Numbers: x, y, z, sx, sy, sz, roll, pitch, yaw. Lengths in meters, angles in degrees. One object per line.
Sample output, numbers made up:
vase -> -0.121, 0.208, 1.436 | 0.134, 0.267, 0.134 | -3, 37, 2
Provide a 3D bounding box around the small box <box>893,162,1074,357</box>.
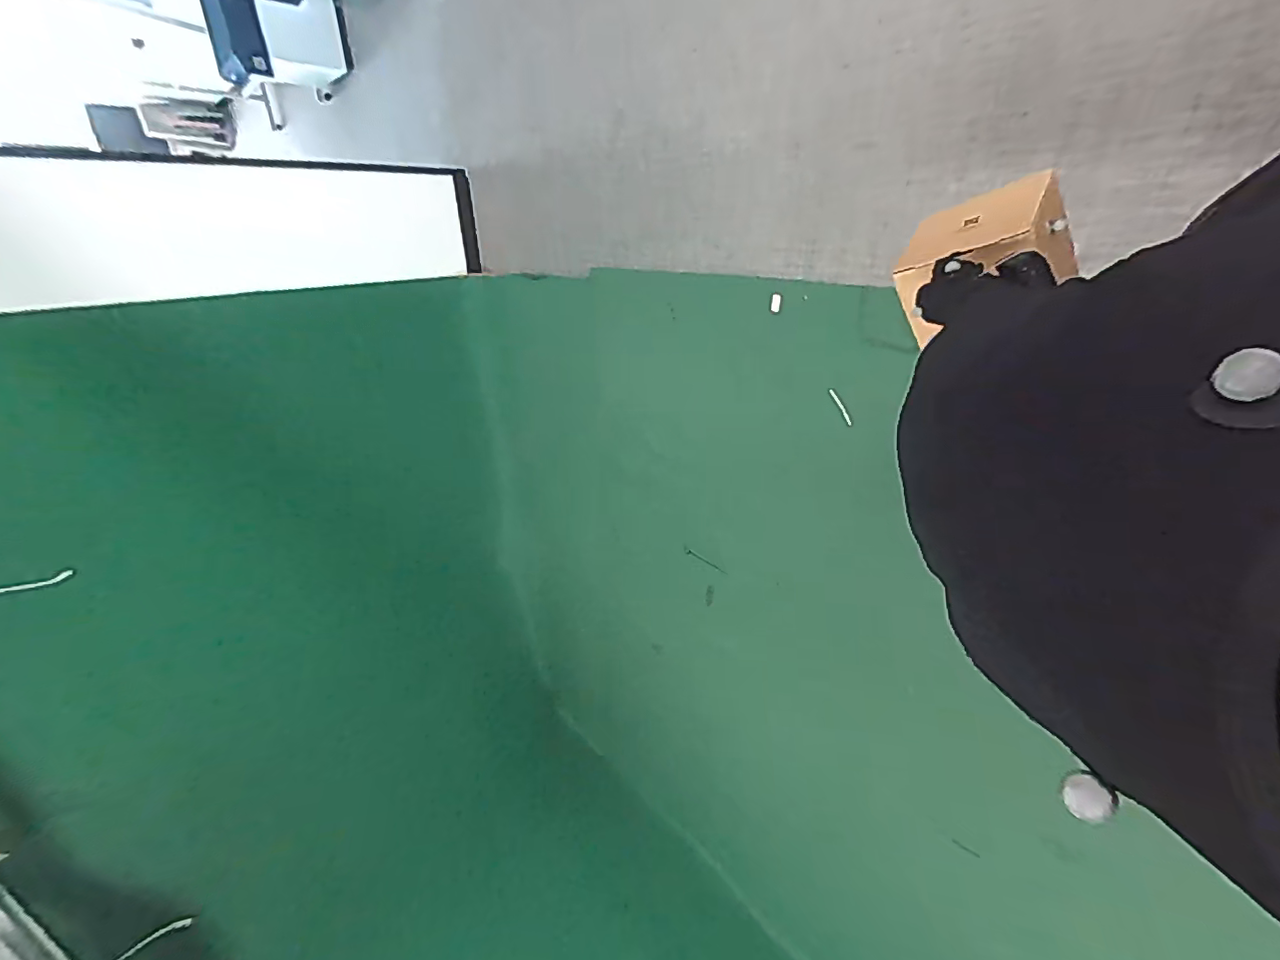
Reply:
small box -> 0.495, -0.303, 0.772 | 0.168, 0.179, 0.176 | -3, 133, 50
